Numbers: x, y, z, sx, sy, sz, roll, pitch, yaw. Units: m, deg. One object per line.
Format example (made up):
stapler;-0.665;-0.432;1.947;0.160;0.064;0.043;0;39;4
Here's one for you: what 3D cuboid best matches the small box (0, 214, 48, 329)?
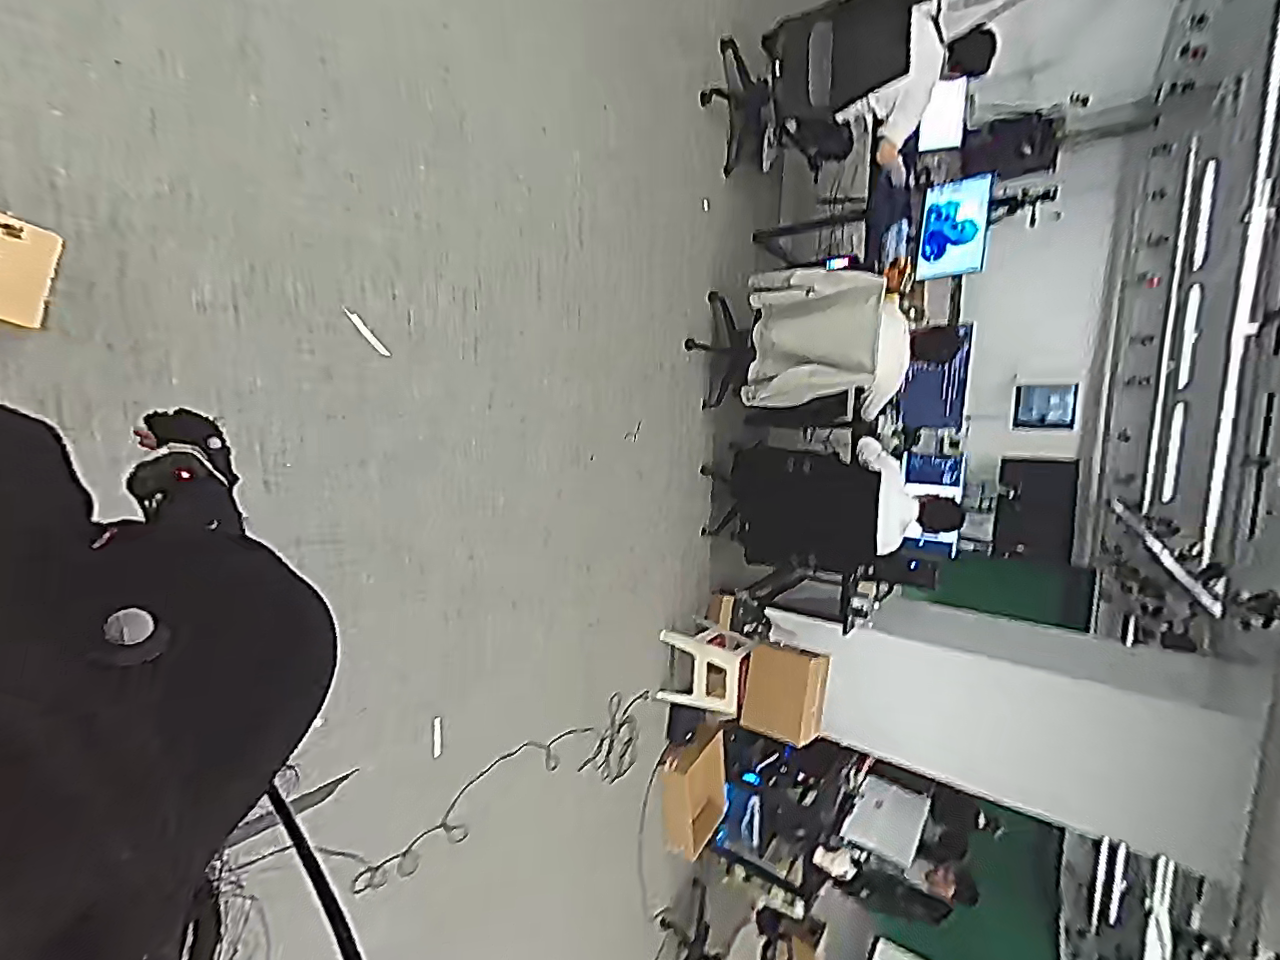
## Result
small box;-1.142;-0.365;0.901;0.168;0.176;0.179;19;80;-54
